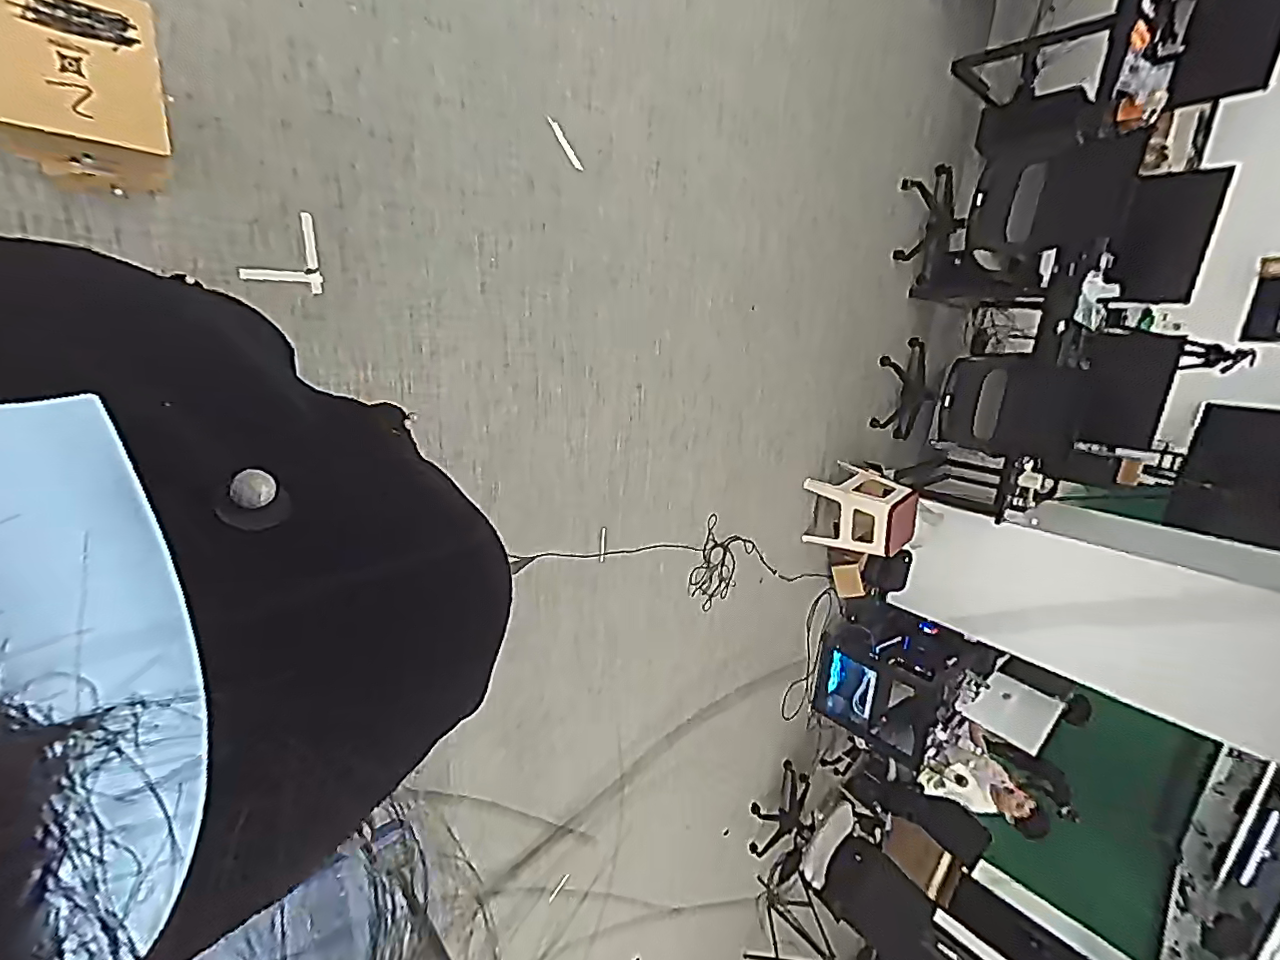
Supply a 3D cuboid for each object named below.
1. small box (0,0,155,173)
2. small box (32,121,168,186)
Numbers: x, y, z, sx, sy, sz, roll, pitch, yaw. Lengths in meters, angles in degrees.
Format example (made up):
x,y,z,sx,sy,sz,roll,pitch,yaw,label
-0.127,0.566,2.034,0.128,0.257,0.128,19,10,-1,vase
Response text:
x,y,z,sx,sy,sz,roll,pitch,yaw,label
-0.845,-0.581,0.802,0.168,0.176,0.179,-9,111,-41,small box
-0.948,-0.615,0.923,0.168,0.176,0.179,-23,119,-35,small box
